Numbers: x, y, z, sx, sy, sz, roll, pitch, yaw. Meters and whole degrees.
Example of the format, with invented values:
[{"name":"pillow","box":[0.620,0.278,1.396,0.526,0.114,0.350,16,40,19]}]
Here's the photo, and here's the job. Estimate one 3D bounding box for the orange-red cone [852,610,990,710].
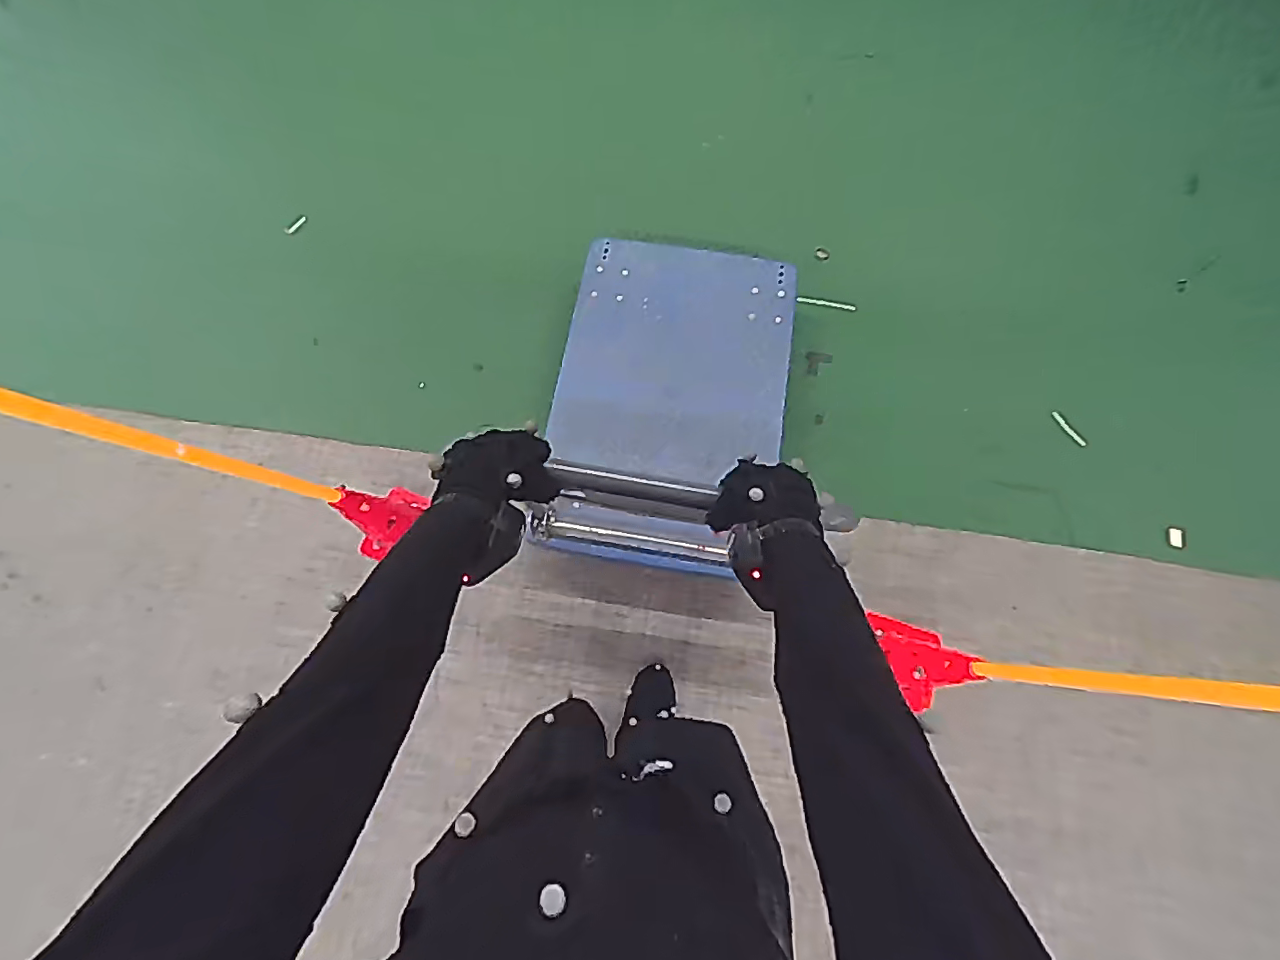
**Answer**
[{"name":"orange-red cone","box":[0.635,0.392,1.169,0.198,0.360,0.199,19,75,7]}]
